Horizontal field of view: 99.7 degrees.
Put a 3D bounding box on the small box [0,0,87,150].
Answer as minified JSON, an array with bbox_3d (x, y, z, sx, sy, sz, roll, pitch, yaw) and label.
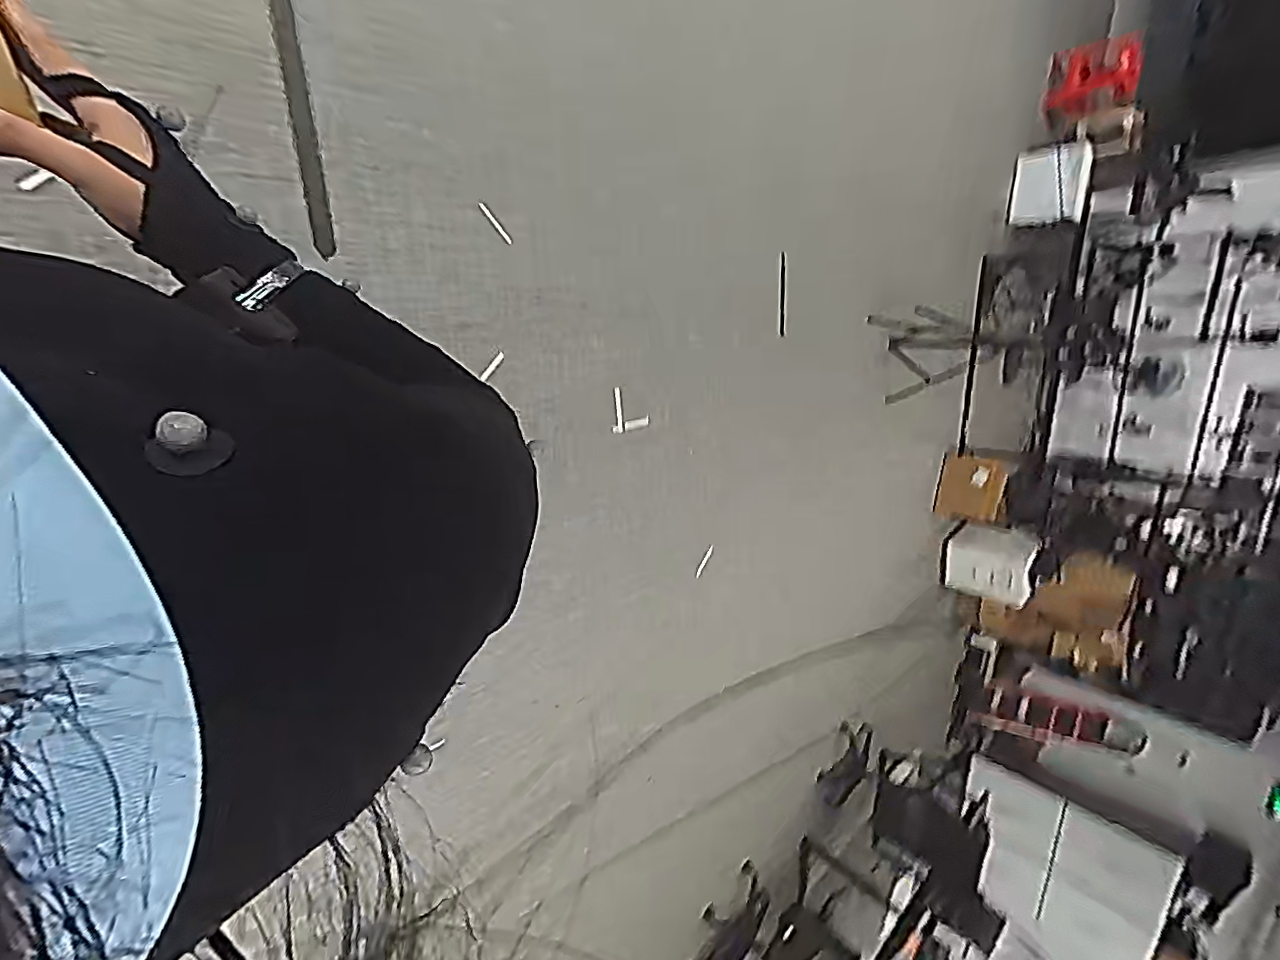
[{"bbox_3d":[-0.448,-0.293,0.291,0.168,0.176,0.179,-22,124,-39],"label":"small box"}]
